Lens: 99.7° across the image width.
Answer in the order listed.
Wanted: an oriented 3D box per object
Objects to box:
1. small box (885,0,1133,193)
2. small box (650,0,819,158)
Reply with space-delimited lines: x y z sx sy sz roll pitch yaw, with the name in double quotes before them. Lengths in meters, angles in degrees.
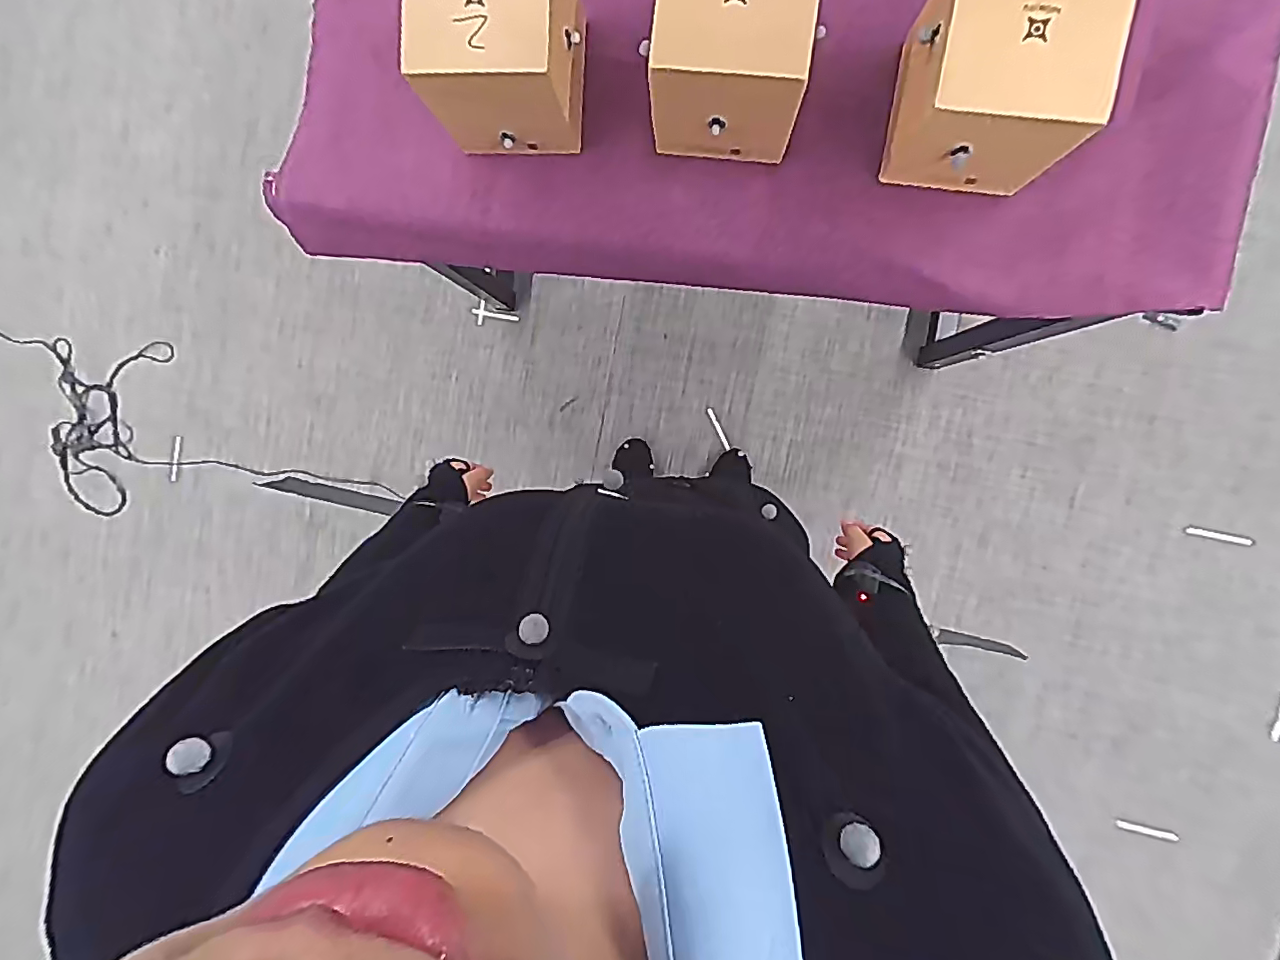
"small box" 0.394 -0.450 0.606 0.168 0.176 0.179 9 95 5
"small box" 0.109 -0.507 0.627 0.168 0.176 0.179 8 94 4
